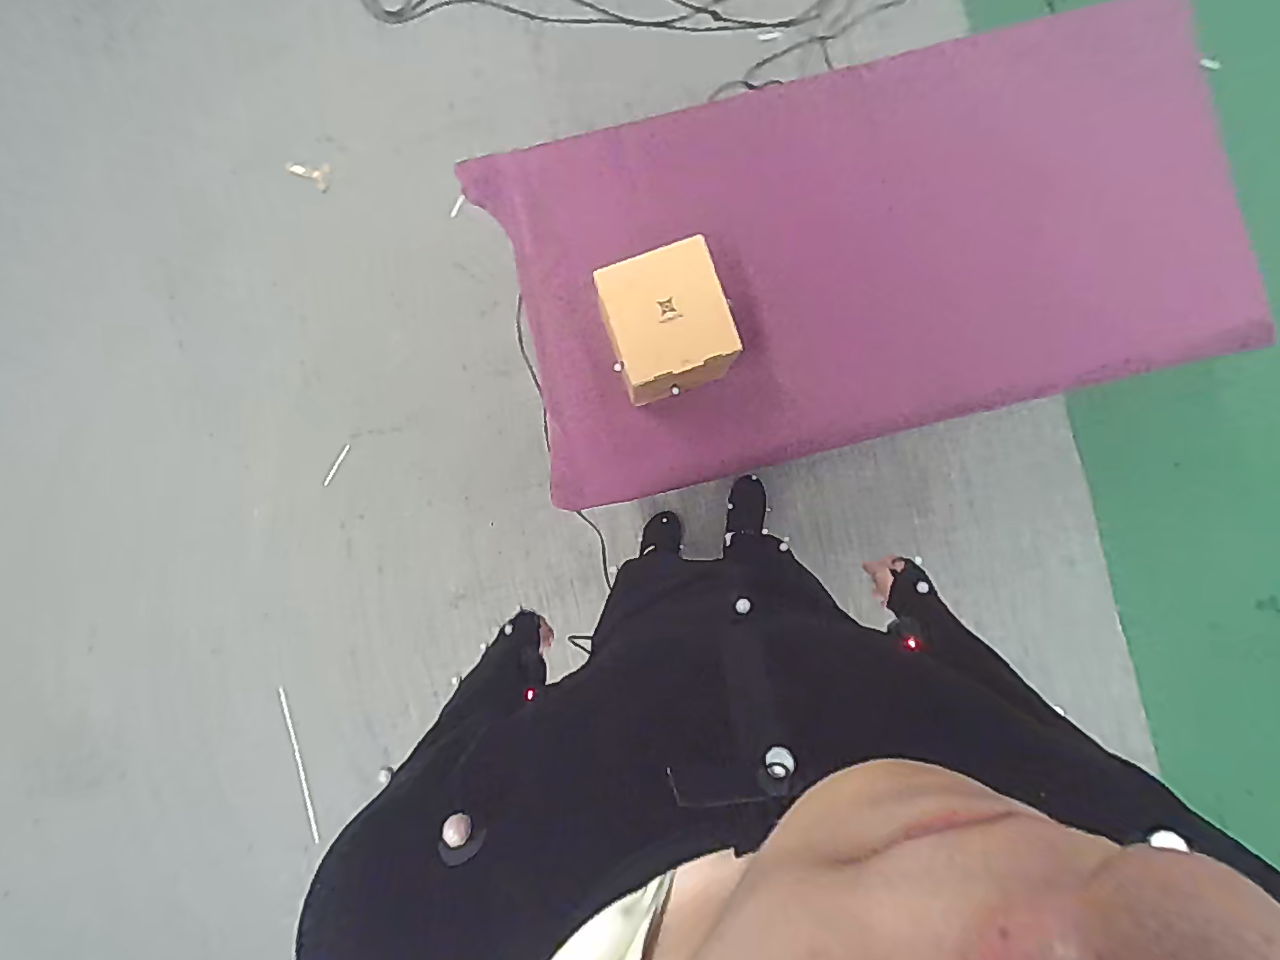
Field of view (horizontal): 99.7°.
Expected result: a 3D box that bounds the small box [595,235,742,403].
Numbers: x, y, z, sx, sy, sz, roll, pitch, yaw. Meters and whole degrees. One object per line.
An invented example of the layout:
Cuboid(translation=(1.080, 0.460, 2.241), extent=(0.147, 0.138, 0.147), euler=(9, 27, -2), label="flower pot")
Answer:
Cuboid(translation=(0.038, -0.235, 0.832), extent=(0.168, 0.176, 0.179), euler=(-20, 89, -1), label="small box")
